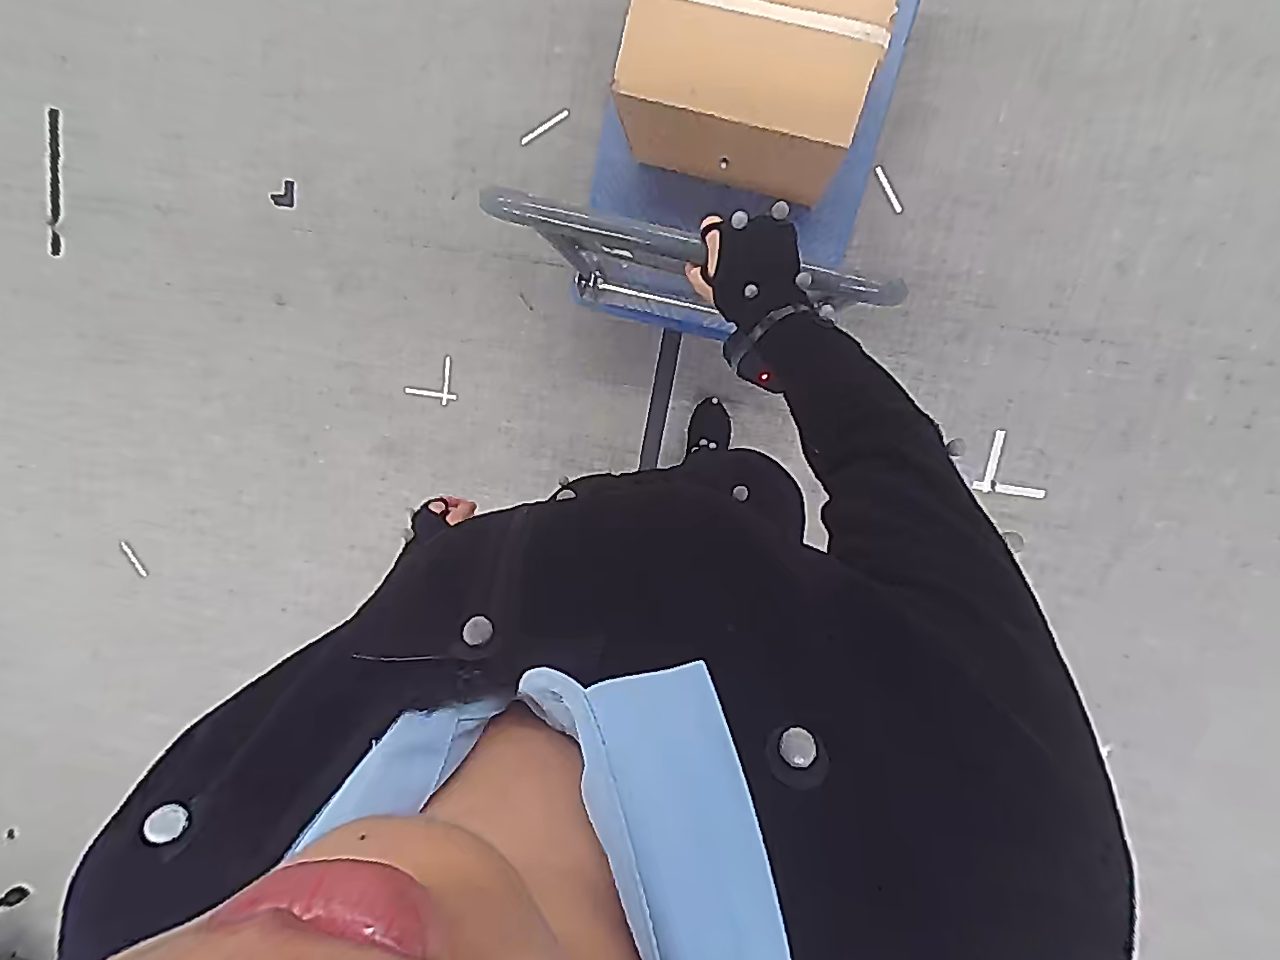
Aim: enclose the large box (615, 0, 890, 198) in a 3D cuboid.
[{"bbox_3d":[0.205,-0.770,1.006,0.408,0.320,0.320,16,101,5],"label":"large box"}]
